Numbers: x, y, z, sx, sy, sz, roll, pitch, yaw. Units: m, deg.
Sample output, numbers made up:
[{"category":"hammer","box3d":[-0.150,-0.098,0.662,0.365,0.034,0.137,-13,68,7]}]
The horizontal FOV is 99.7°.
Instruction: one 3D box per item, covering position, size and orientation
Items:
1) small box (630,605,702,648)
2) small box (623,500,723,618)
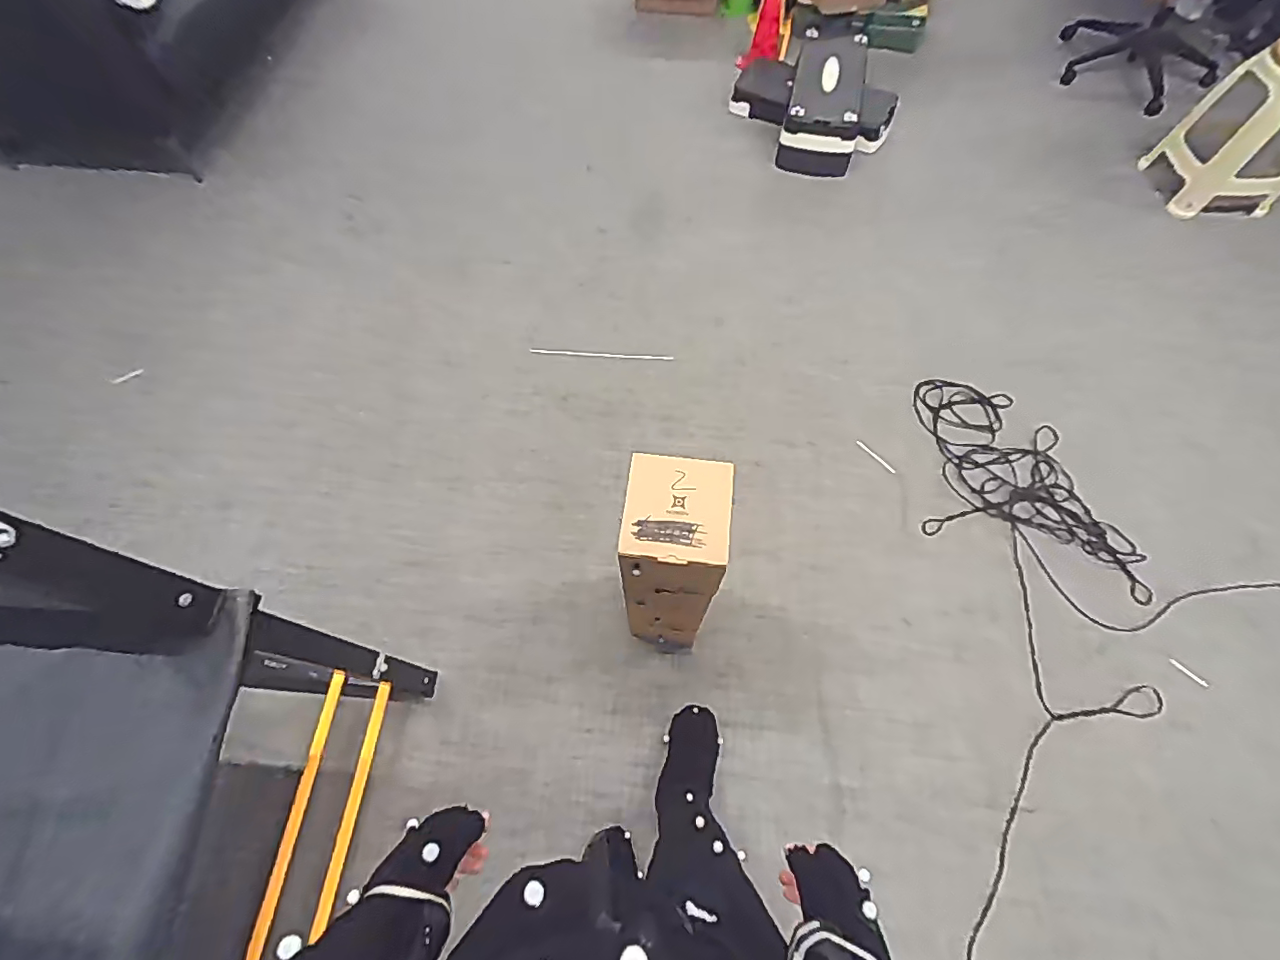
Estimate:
[{"category":"small box","box3d":[0.074,0.307,1.348,0.168,0.176,0.179,10,66,6]},{"category":"small box","box3d":[0.065,0.160,1.055,0.168,0.176,0.179,7,63,5]}]
